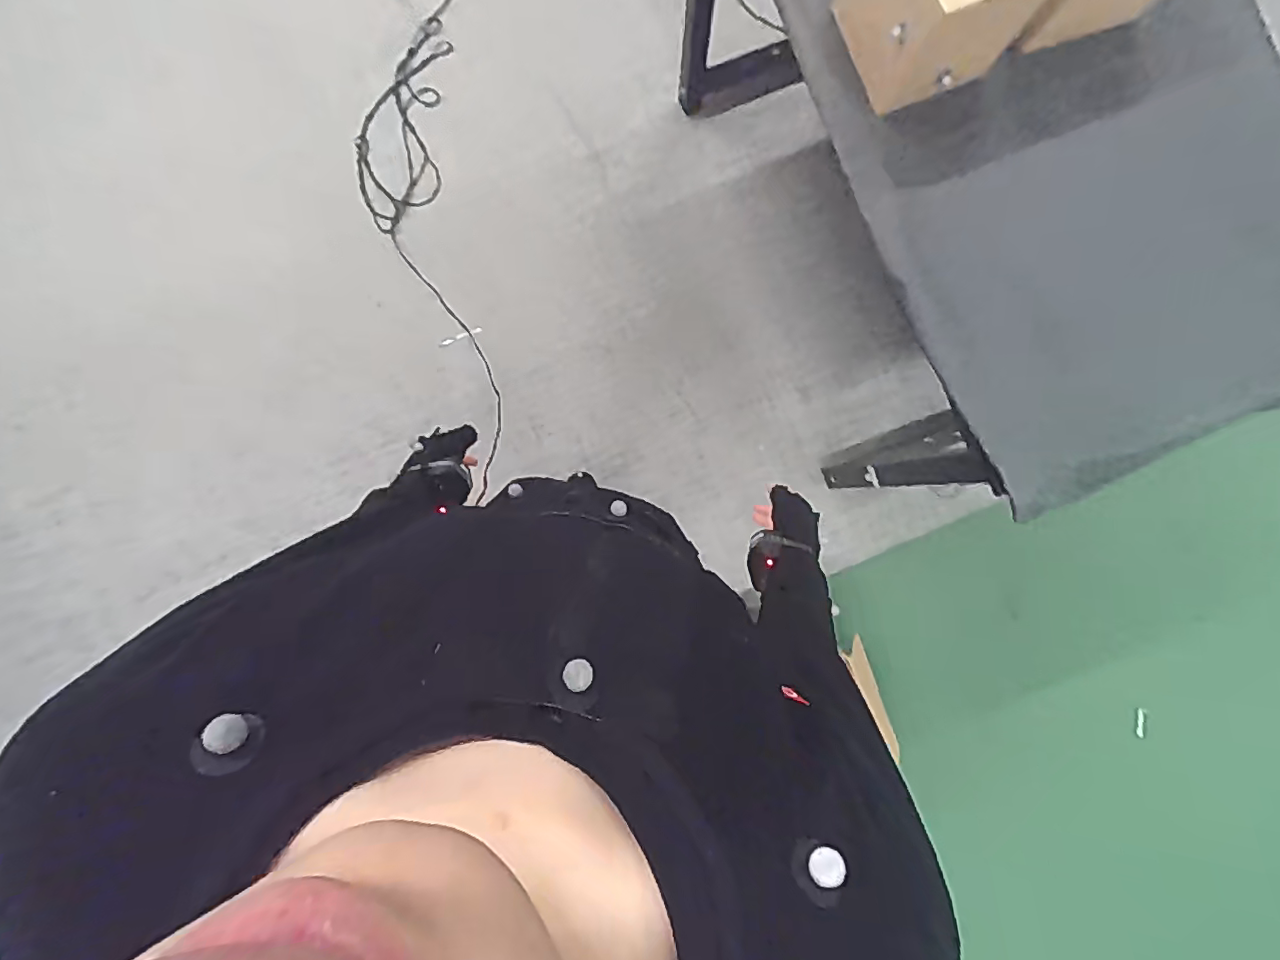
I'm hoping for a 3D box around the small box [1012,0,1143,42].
[{"bbox_3d":[0.598,-0.712,0.686,0.179,0.176,0.168,-17,89,-1],"label":"small box"}]
